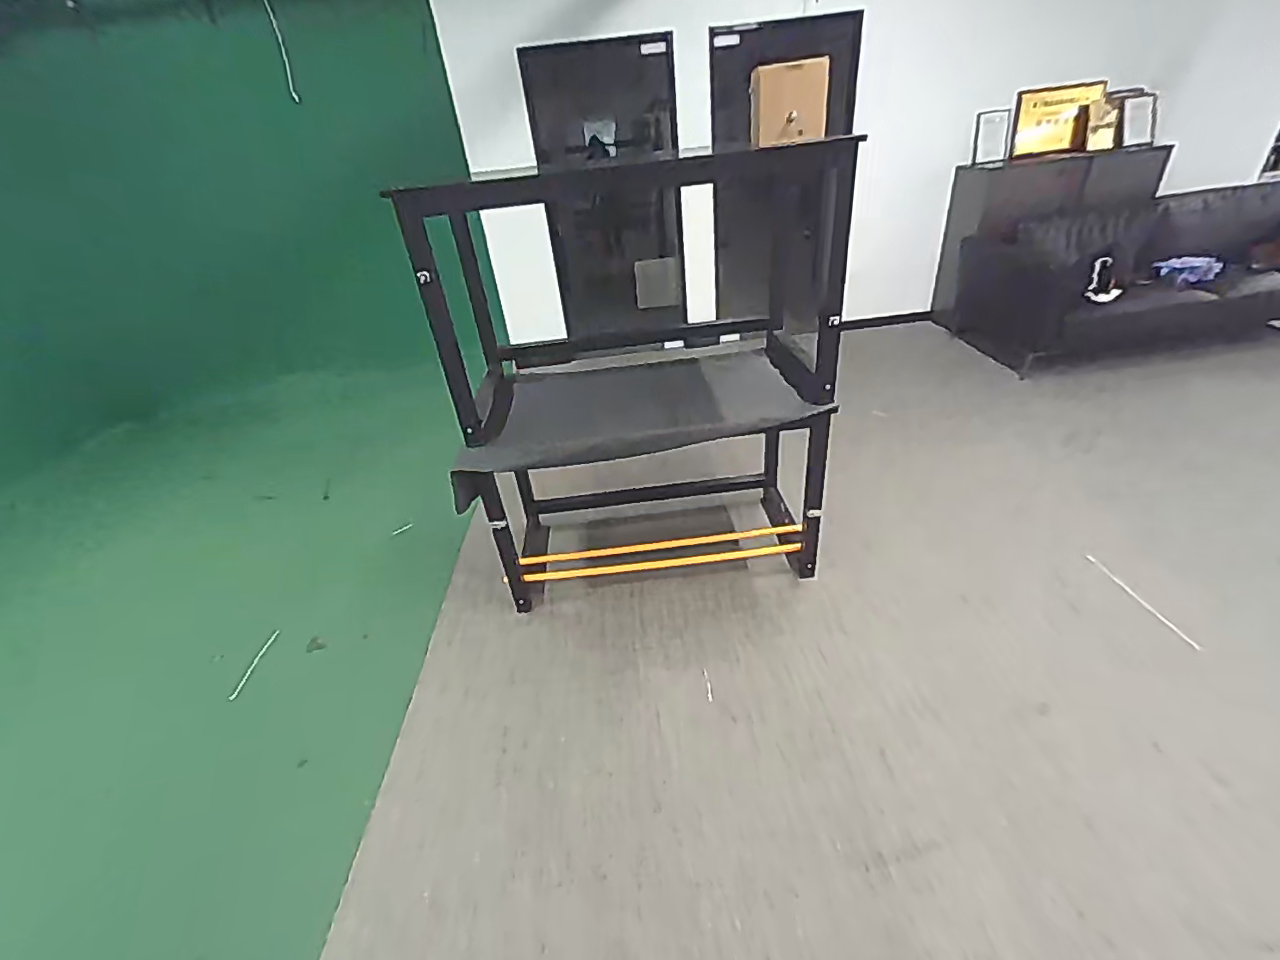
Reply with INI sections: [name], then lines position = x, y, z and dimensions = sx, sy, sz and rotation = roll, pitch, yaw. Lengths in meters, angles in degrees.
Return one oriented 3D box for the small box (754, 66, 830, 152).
[small box]
position = 0.392, -0.966, 1.421
dimensions = 0.168, 0.176, 0.179
rotation = -4, 32, 6
